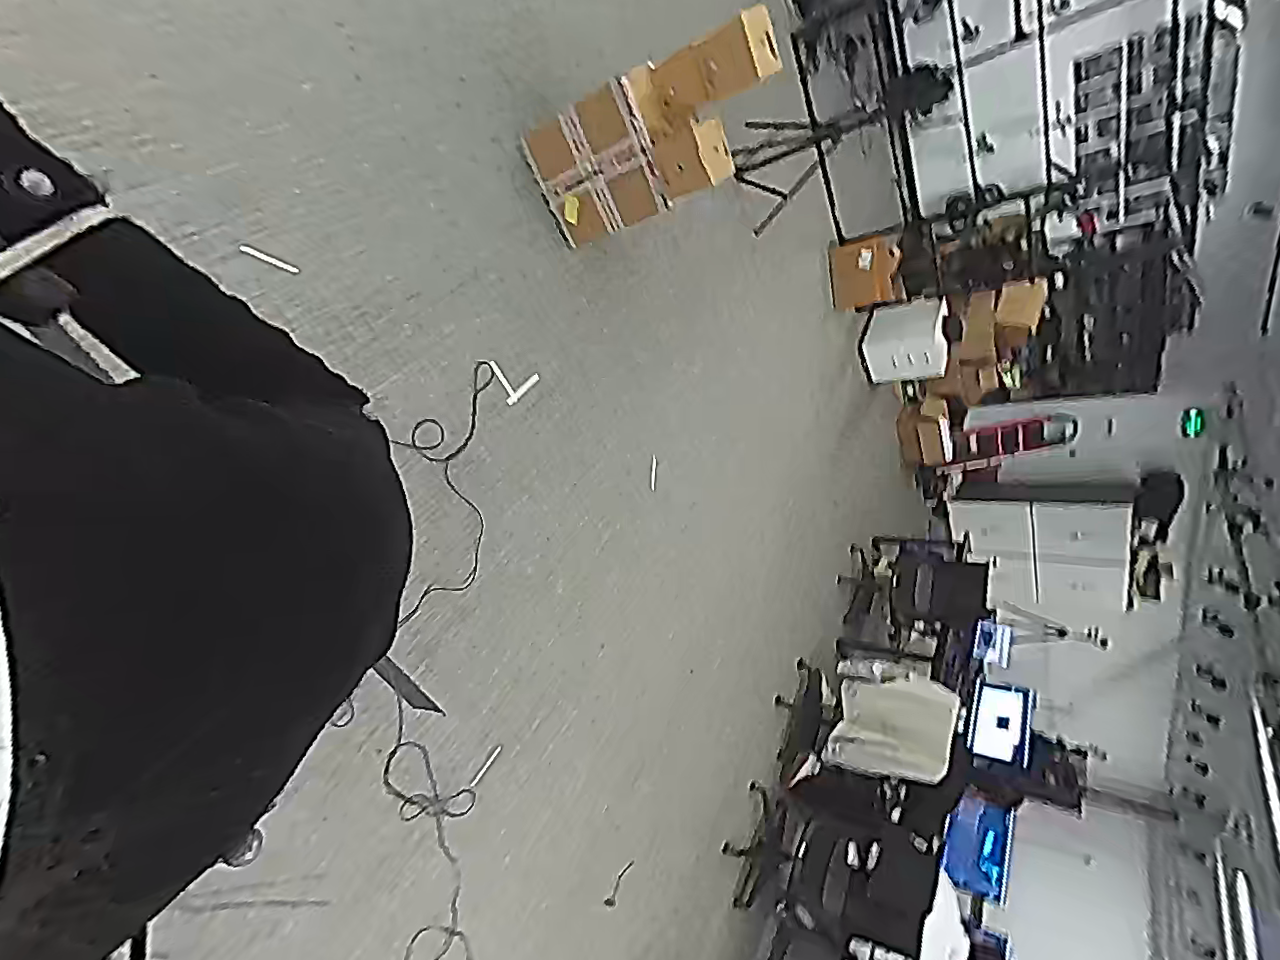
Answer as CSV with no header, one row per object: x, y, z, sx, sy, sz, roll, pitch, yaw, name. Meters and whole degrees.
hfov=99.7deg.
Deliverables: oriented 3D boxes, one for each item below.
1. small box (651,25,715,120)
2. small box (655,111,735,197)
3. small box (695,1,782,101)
0.163,-1.274,1.697,0.179,0.176,0.168,-54,126,-32,small box
0.168,-1.024,1.709,0.179,0.176,0.168,-50,127,-34,small box
0.289,-1.259,1.592,0.179,0.176,0.168,-50,124,-34,small box
